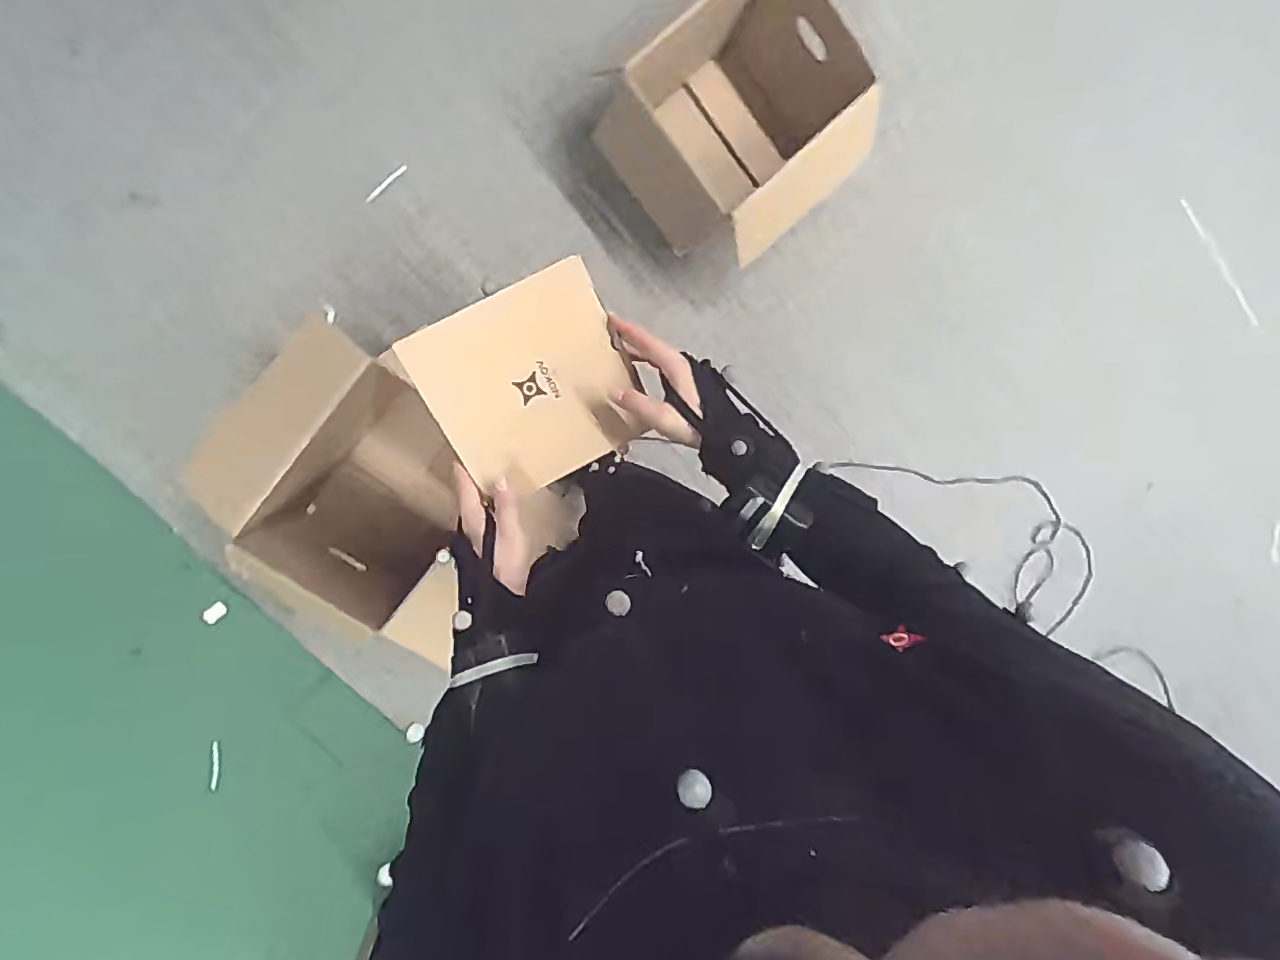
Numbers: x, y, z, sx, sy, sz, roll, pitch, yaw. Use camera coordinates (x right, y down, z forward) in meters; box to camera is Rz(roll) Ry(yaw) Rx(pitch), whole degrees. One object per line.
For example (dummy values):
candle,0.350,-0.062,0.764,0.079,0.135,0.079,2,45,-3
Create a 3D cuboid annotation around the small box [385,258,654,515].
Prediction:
small box,-0.113,-0.089,0.535,0.179,0.176,0.168,-29,105,-8
